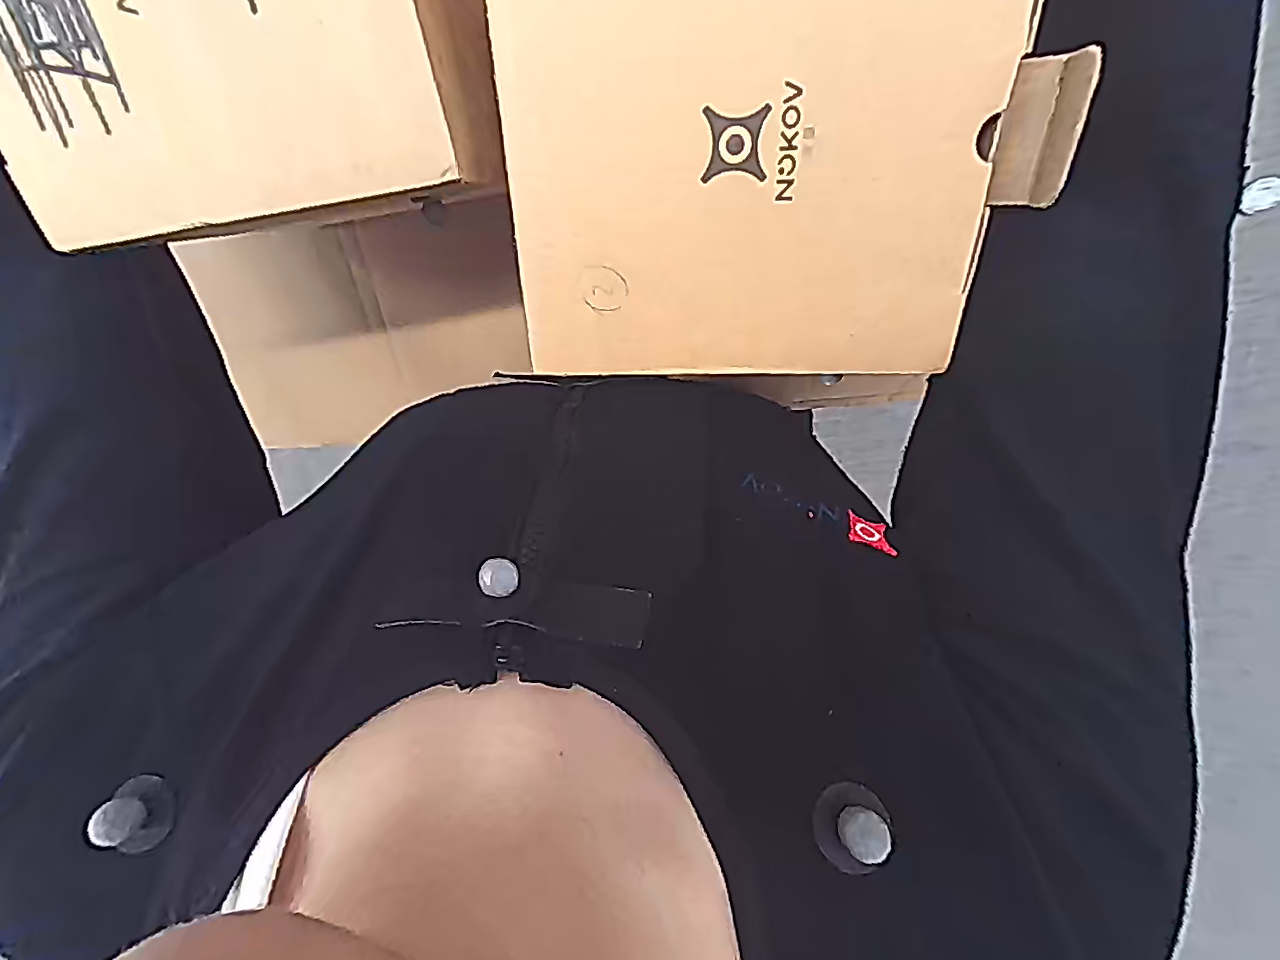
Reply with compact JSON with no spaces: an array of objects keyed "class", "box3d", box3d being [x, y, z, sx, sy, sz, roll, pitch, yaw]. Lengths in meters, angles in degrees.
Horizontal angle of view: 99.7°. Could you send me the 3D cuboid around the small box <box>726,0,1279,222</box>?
[{"class":"small box","box3d":[0.139,-0.213,0.205,0.179,0.176,0.168,12,125,-3]}]
